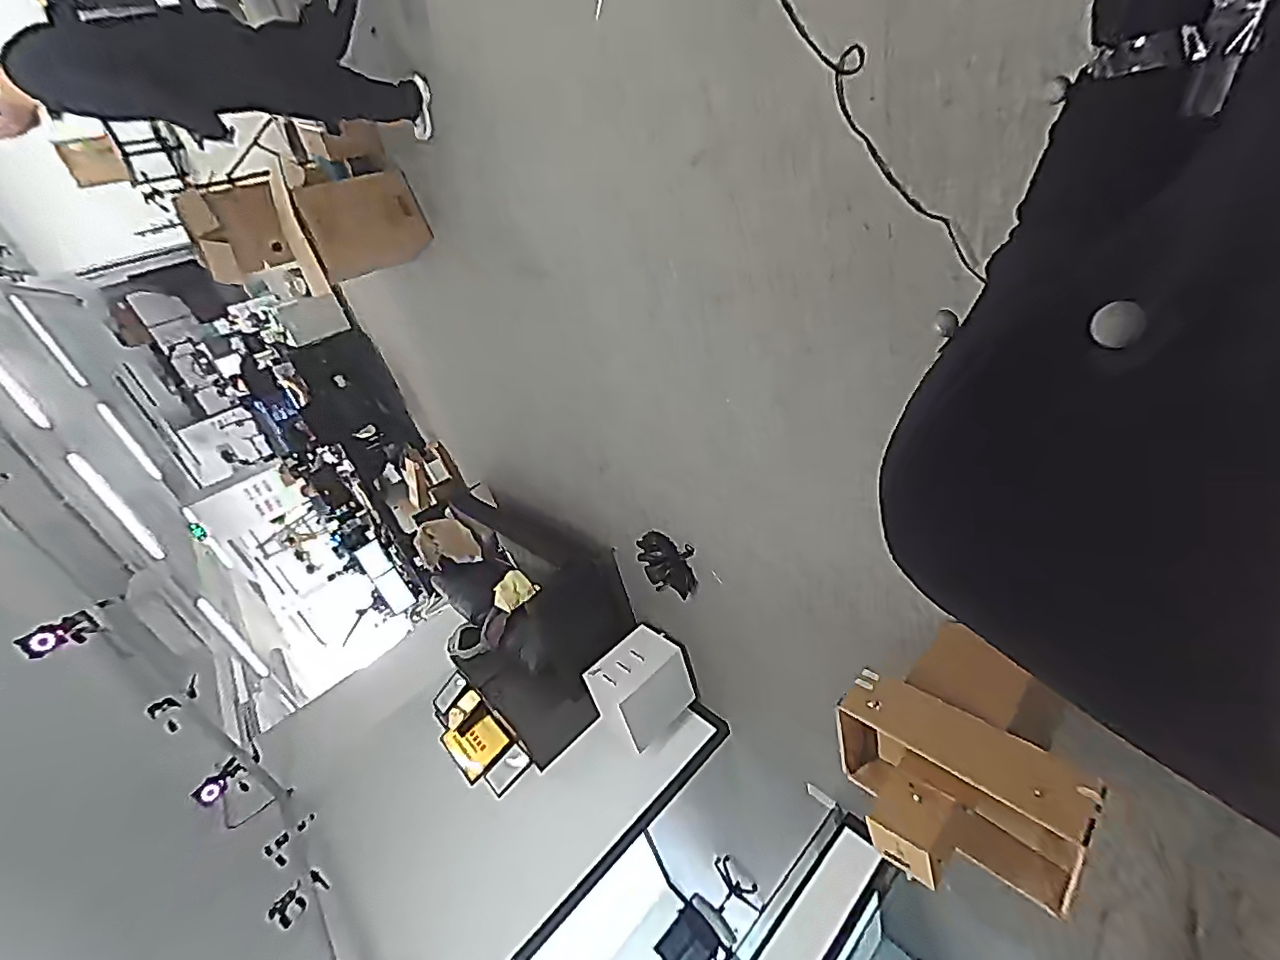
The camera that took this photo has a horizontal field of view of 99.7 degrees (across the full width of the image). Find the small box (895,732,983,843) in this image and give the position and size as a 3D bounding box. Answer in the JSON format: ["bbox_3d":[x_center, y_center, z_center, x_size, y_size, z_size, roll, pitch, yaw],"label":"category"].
[{"bbox_3d":[0.859,0.870,1.544,0.168,0.176,0.179,10,127,50],"label":"small box"}]

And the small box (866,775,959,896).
[{"bbox_3d":[0.743,0.954,1.464,0.168,0.176,0.179,9,127,49],"label":"small box"}]
